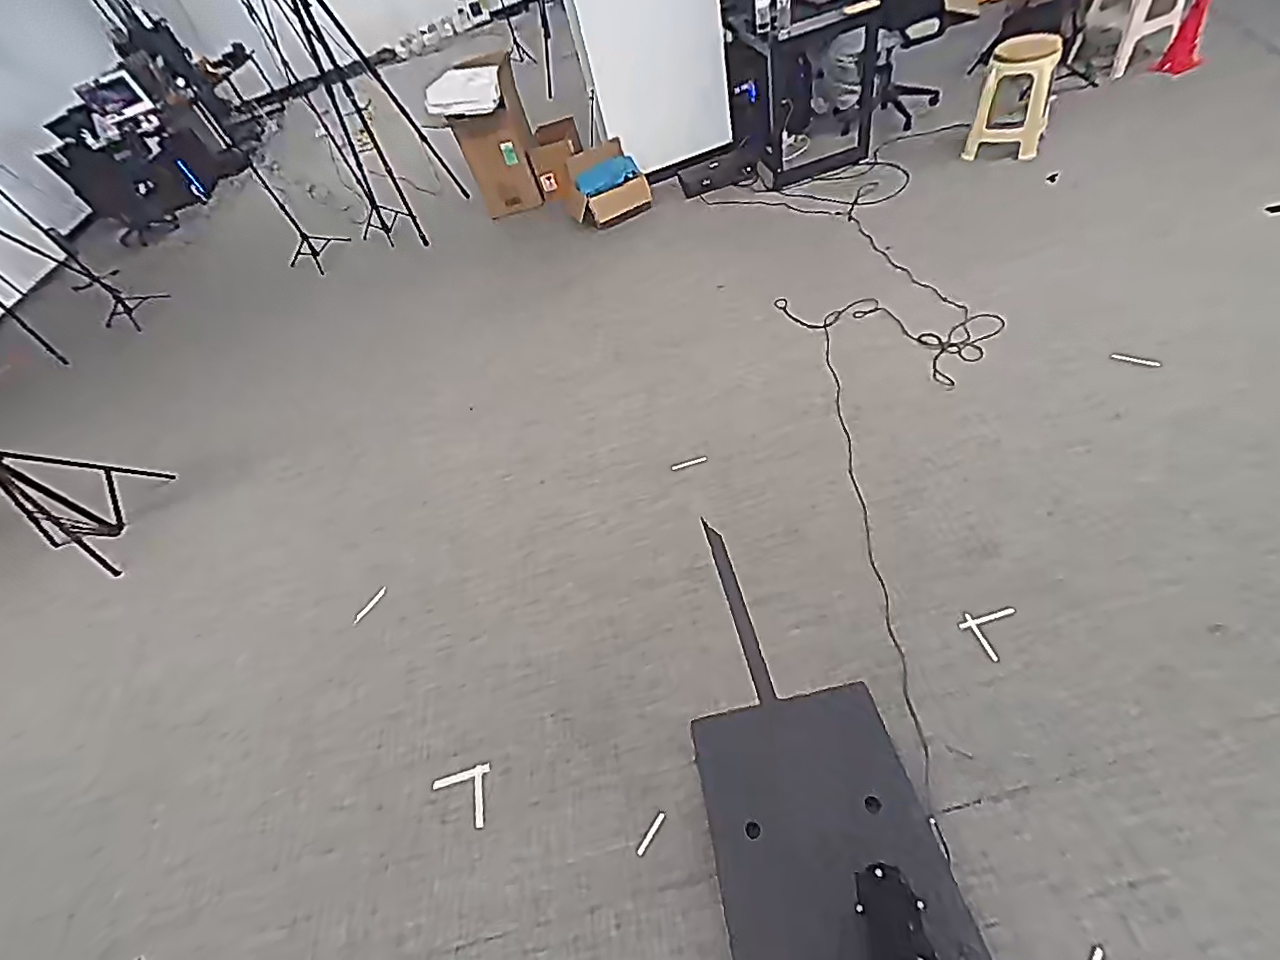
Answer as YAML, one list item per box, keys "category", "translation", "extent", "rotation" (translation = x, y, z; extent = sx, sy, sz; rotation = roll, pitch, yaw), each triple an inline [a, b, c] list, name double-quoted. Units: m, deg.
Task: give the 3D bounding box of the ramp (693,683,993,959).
- category: "ramp"
  translation: [0.426, 0.928, 1.104]
  extent: [0.509, 0.206, 0.991]
  rotation: [-18, 48, 5]
